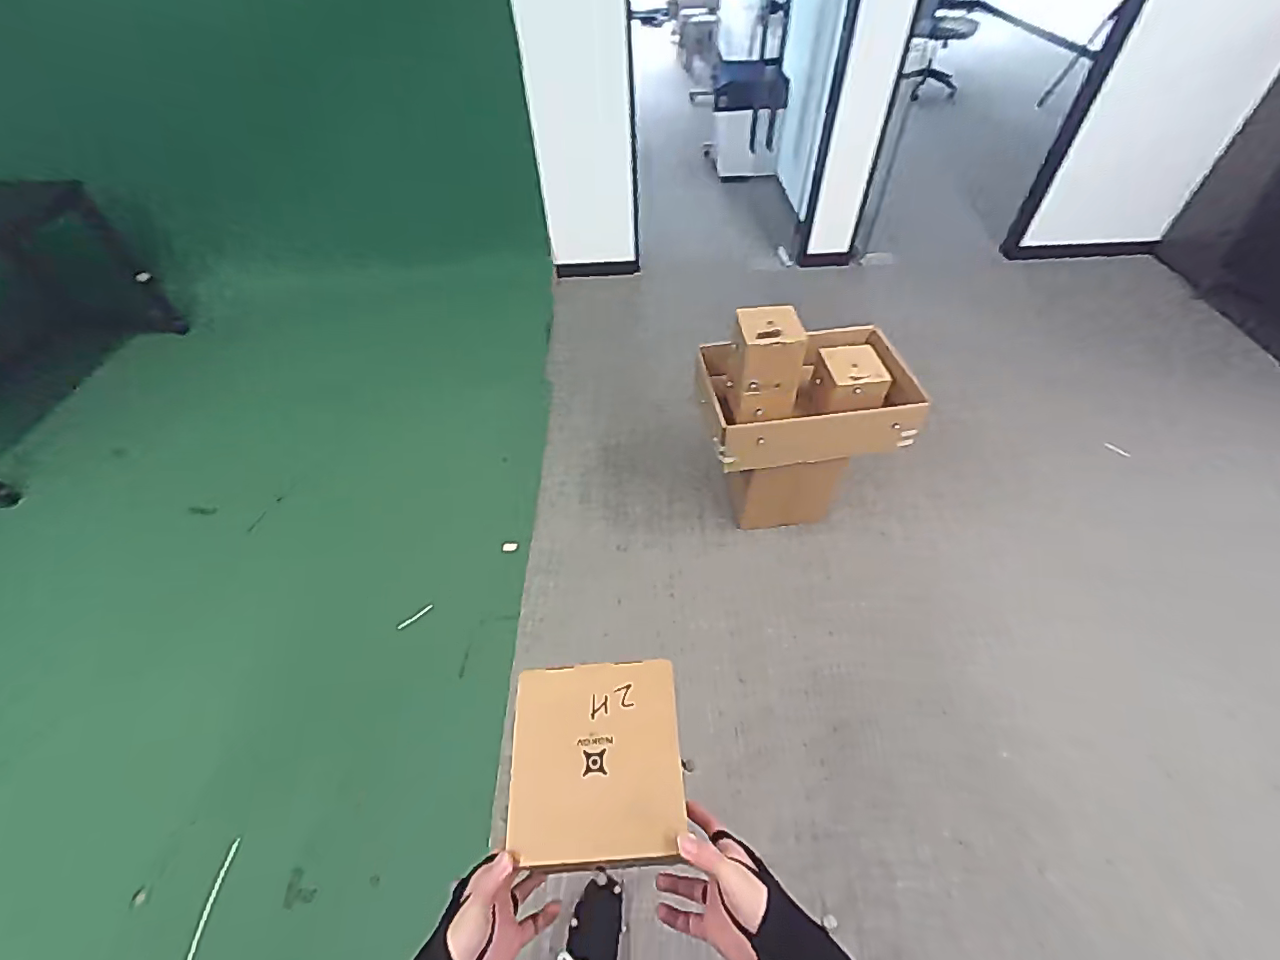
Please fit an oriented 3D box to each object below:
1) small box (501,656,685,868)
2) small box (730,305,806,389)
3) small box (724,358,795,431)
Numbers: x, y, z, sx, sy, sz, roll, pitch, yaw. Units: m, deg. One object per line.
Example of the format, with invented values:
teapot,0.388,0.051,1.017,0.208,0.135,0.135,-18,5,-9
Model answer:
small box,-0.038,0.305,0.578,0.168,0.176,0.179,-3,51,1
small box,0.357,-0.372,1.534,0.168,0.176,0.179,-4,49,-1
small box,0.359,-0.265,1.660,0.168,0.176,0.179,-7,50,-4
